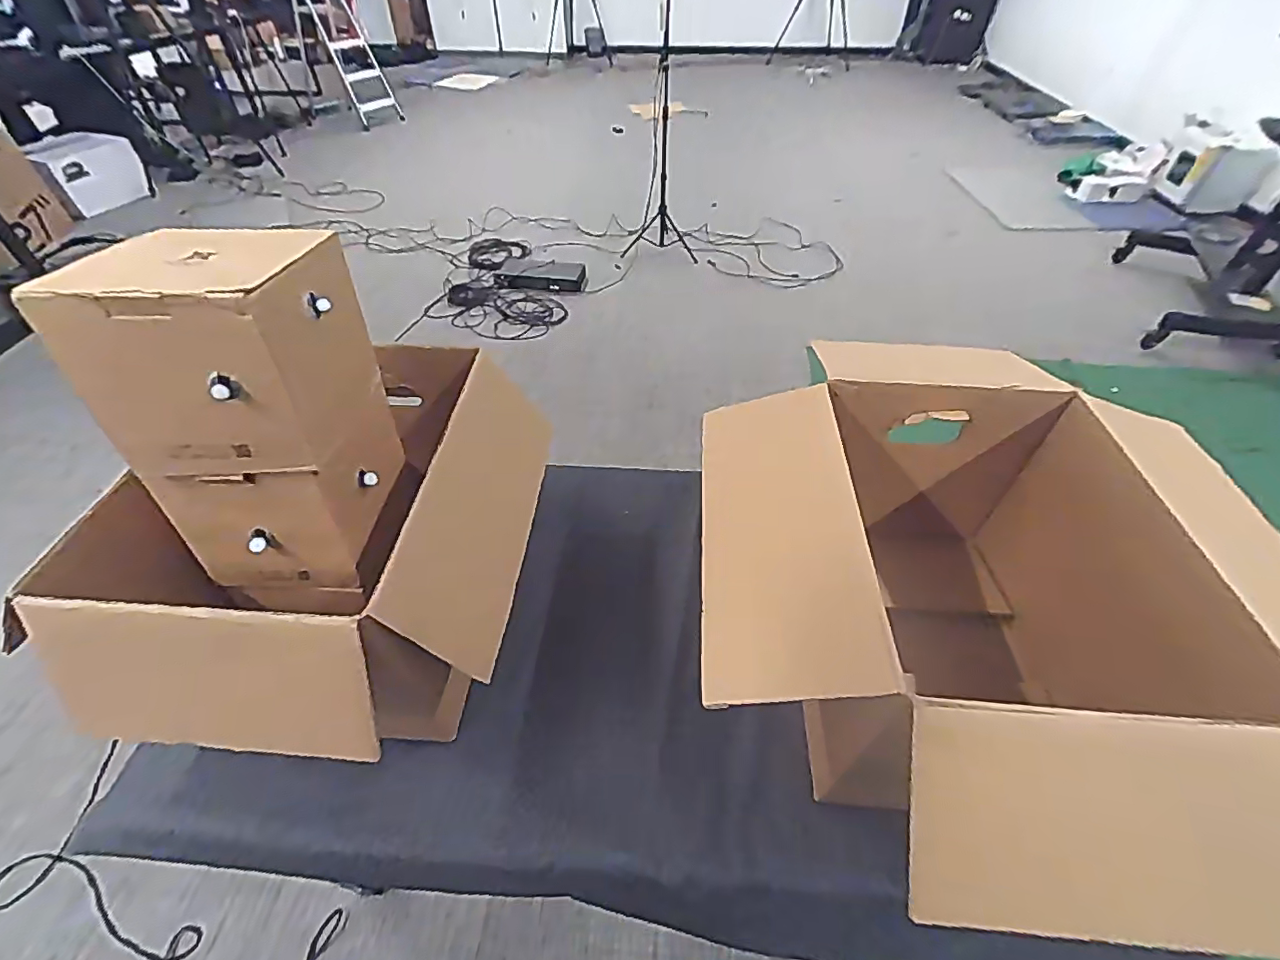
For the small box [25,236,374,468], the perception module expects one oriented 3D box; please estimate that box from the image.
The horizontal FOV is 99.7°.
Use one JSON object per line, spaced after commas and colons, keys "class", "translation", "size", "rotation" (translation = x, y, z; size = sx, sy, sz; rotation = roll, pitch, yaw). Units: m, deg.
{"class": "small box", "translation": [-0.380, -0.123, 0.517], "size": [0.168, 0.176, 0.179], "rotation": [0, 37, -3]}
